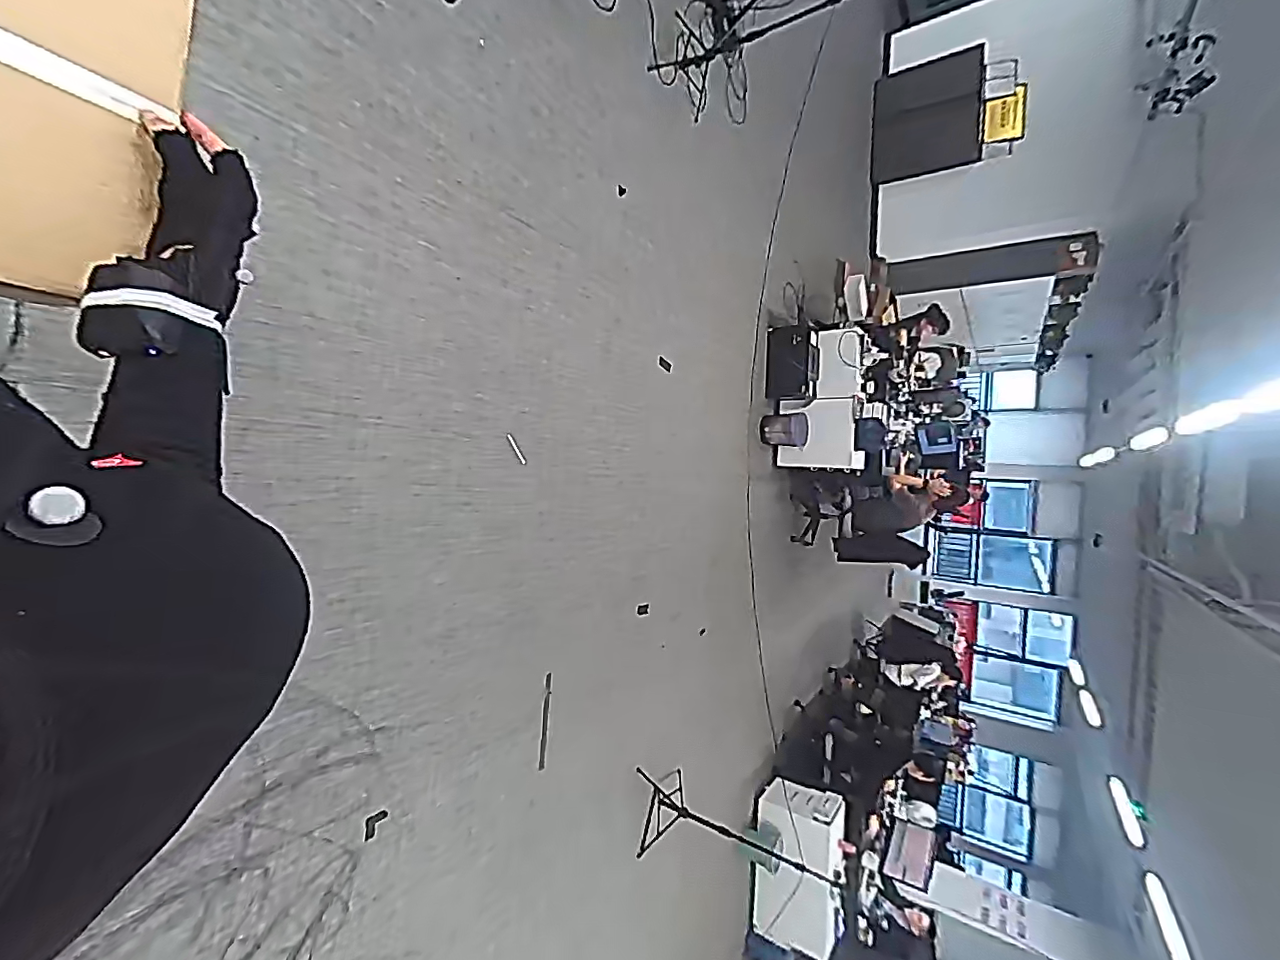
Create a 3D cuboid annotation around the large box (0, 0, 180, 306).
[{"bbox_3d":[-0.630,-0.331,0.363,0.408,0.320,0.320,3,100,-60],"label":"large box"}]
